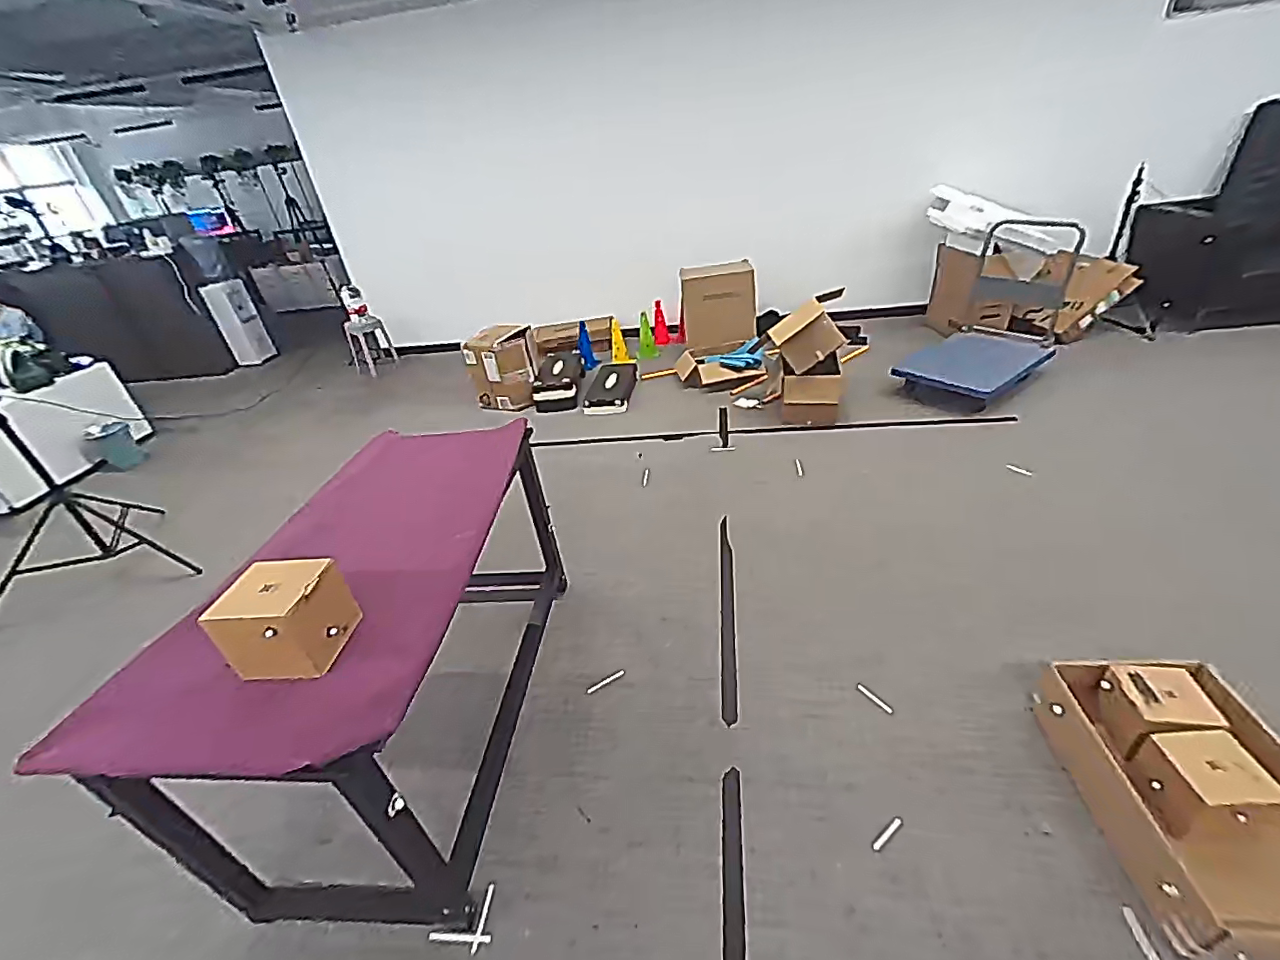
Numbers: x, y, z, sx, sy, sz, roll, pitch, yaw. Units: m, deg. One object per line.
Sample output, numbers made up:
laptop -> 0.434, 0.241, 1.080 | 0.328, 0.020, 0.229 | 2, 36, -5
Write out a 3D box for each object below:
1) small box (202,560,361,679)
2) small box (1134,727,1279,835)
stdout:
small box -> -0.704, 0.281, 1.085 | 0.179, 0.176, 0.168 | -4, 31, 5
small box -> 1.316, 0.705, 1.266 | 0.179, 0.176, 0.168 | -5, 33, 4
